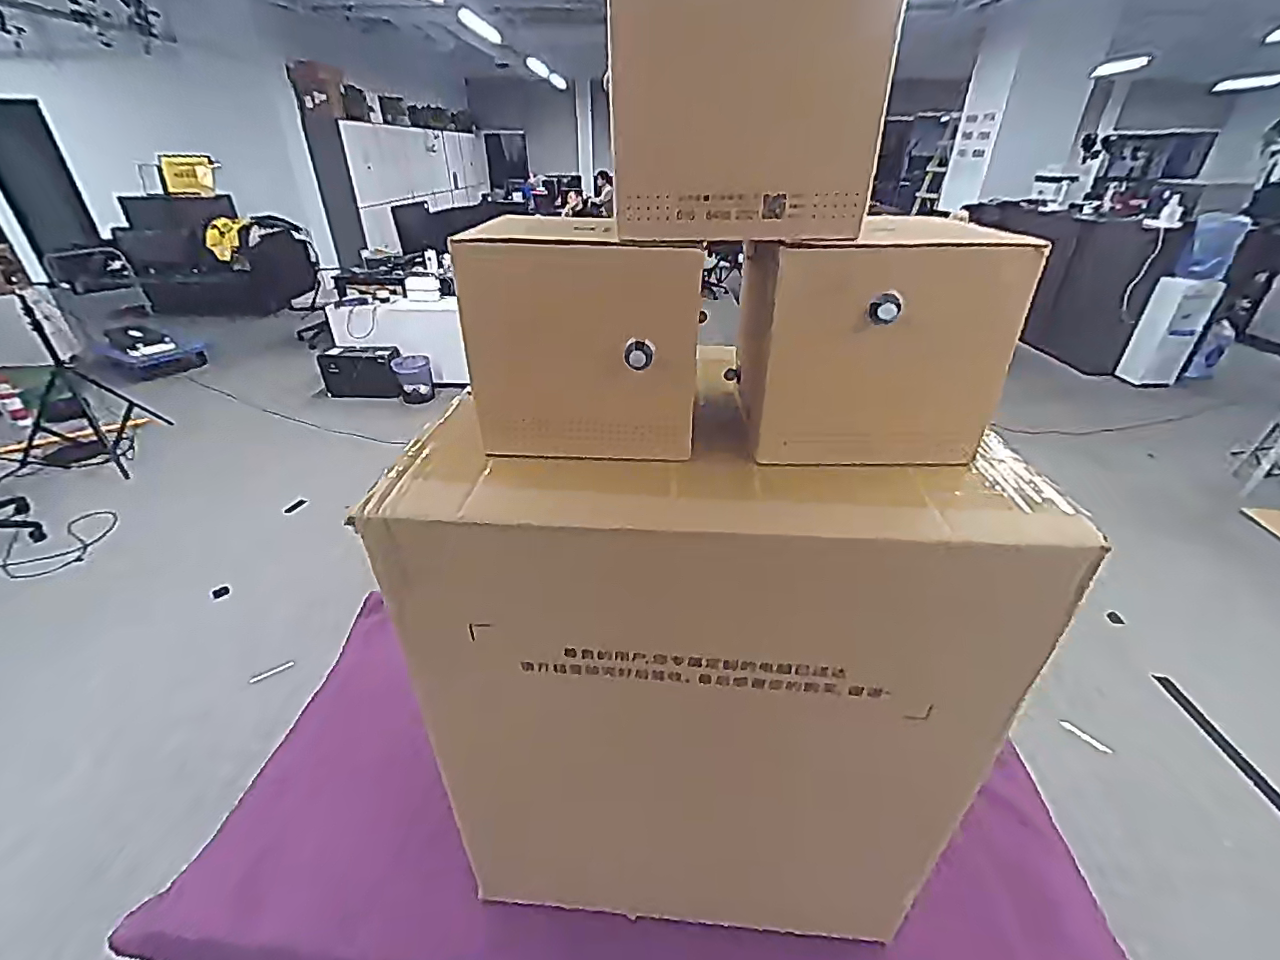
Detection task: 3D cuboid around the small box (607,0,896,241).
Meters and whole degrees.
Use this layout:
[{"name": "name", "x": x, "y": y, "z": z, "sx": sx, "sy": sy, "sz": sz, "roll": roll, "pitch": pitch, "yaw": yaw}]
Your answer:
[{"name": "small box", "x": 0.065, "y": -0.274, "z": 0.394, "sx": 0.168, "sy": 0.176, "sz": 0.179, "roll": 0, "pitch": 30, "yaw": 2}]

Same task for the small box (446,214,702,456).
[{"name": "small box", "x": -0.044, "y": -0.129, "z": 0.472, "sx": 0.179, "sy": 0.176, "sz": 0.168, "roll": 1, "pitch": 30, "yaw": 1}]

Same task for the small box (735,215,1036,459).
[{"name": "small box", "x": 0.179, "y": -0.127, "z": 0.463, "sx": 0.179, "sy": 0.176, "sz": 0.168, "roll": 0, "pitch": 31, "yaw": 1}]
